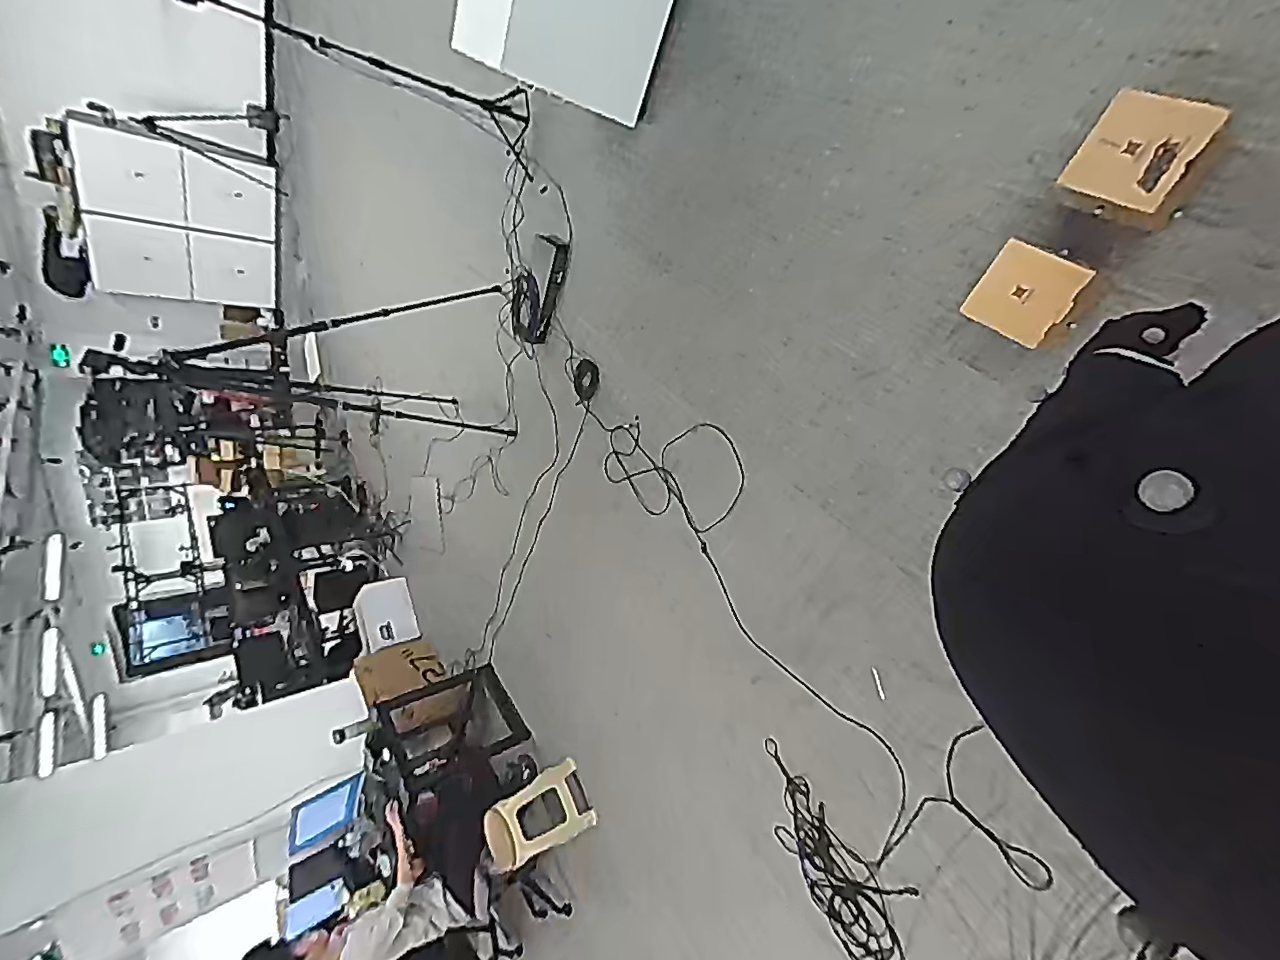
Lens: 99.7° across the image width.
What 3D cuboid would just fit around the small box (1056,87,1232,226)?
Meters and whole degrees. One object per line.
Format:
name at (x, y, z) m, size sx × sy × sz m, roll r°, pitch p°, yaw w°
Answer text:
small box at (0.943, -0.596, 1.013) m, size 0.179 × 0.176 × 0.168 m, roll 47°, pitch 127°, yaw 34°

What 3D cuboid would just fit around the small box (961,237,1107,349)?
small box at (0.842, -0.392, 1.157) m, size 0.179 × 0.176 × 0.168 m, roll 47°, pitch 127°, yaw 32°
